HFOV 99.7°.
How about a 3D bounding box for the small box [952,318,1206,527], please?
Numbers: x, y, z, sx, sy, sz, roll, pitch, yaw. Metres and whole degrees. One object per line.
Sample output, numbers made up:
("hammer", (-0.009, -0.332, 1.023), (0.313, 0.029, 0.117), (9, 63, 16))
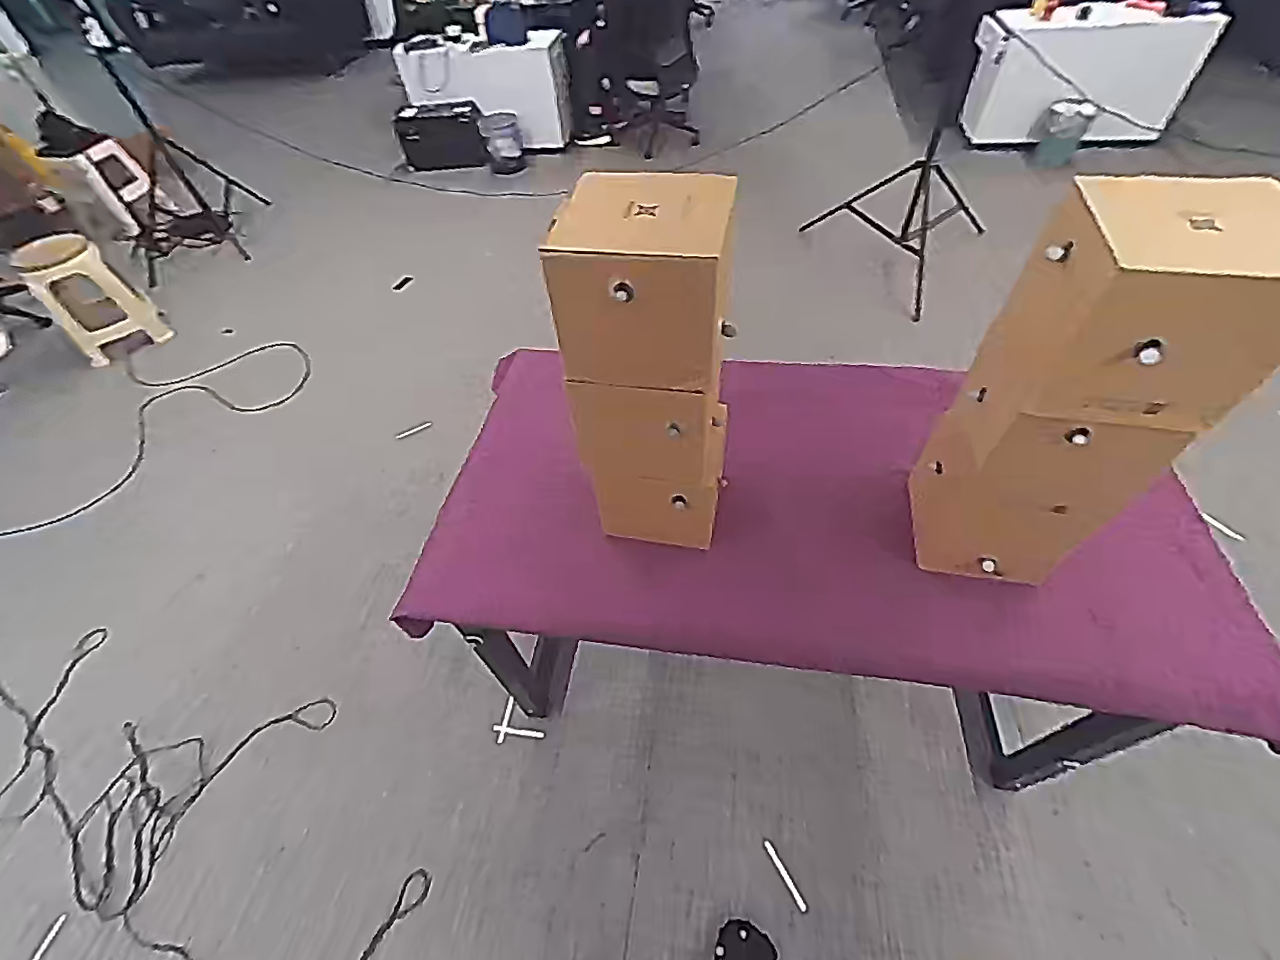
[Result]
("small box", (0.499, -0.070, 0.655), (0.168, 0.176, 0.179), (8, 51, 13))

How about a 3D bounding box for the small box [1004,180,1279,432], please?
("small box", (0.487, -0.167, 0.524), (0.168, 0.176, 0.179), (8, 52, 13))

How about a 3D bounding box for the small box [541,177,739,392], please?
("small box", (0.010, -0.217, 0.609), (0.179, 0.176, 0.168), (7, 53, 10))

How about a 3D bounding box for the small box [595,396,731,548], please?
("small box", (0.043, -0.010, 0.859), (0.179, 0.176, 0.168), (7, 51, 11))

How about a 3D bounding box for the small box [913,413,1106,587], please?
("small box", (0.513, 0.029, 0.785), (0.168, 0.176, 0.179), (7, 52, 11))
